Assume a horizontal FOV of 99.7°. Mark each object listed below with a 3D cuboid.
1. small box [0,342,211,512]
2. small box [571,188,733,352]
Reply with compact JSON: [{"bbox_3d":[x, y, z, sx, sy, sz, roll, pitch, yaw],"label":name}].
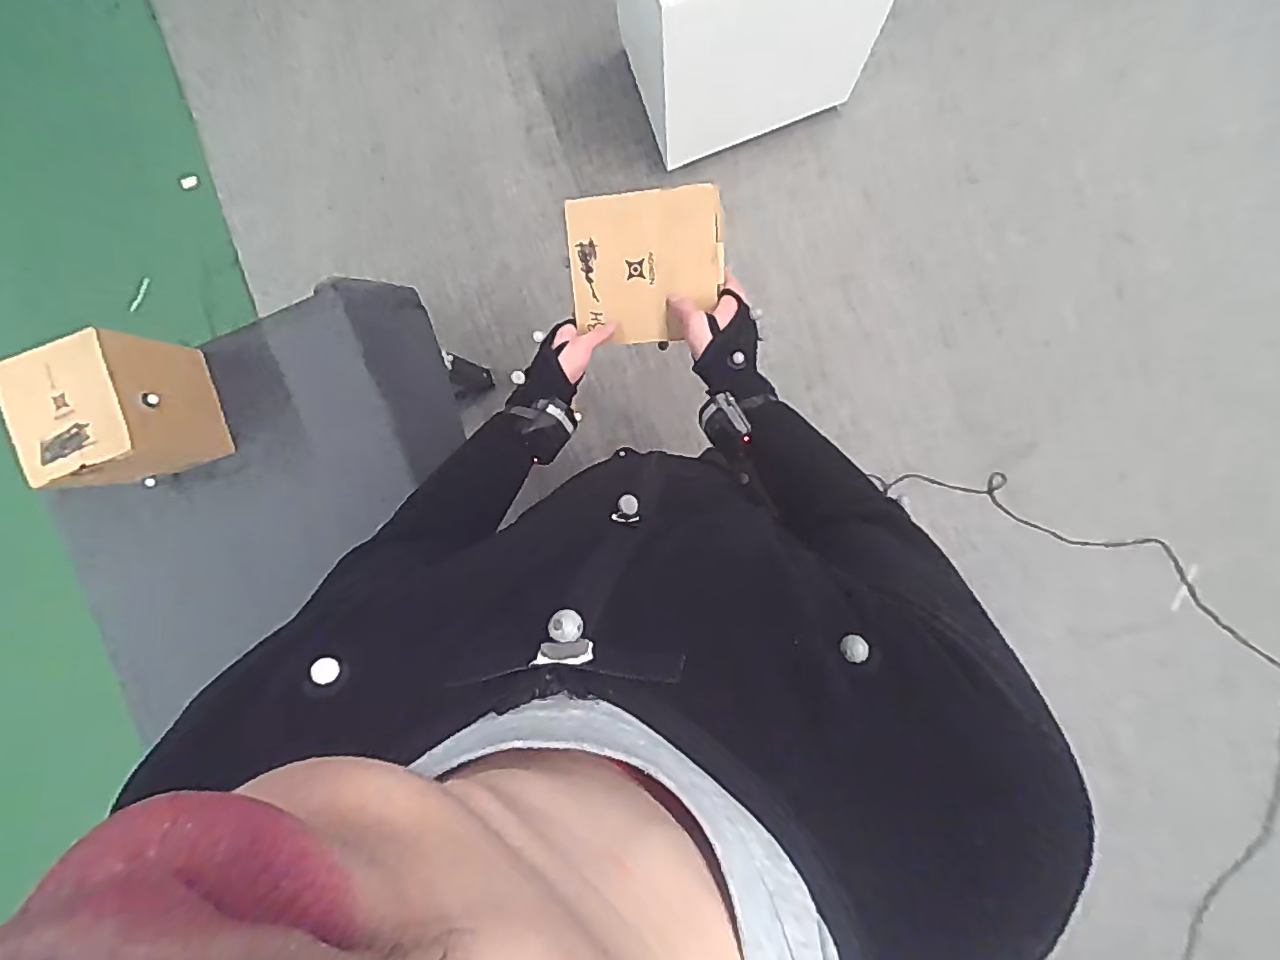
[{"bbox_3d":[-0.755,-0.068,0.753,0.168,0.176,0.179,-19,90,2],"label":"small box"},{"bbox_3d":[0.023,-0.255,0.683,0.179,0.176,0.168,-2,106,8],"label":"small box"}]
